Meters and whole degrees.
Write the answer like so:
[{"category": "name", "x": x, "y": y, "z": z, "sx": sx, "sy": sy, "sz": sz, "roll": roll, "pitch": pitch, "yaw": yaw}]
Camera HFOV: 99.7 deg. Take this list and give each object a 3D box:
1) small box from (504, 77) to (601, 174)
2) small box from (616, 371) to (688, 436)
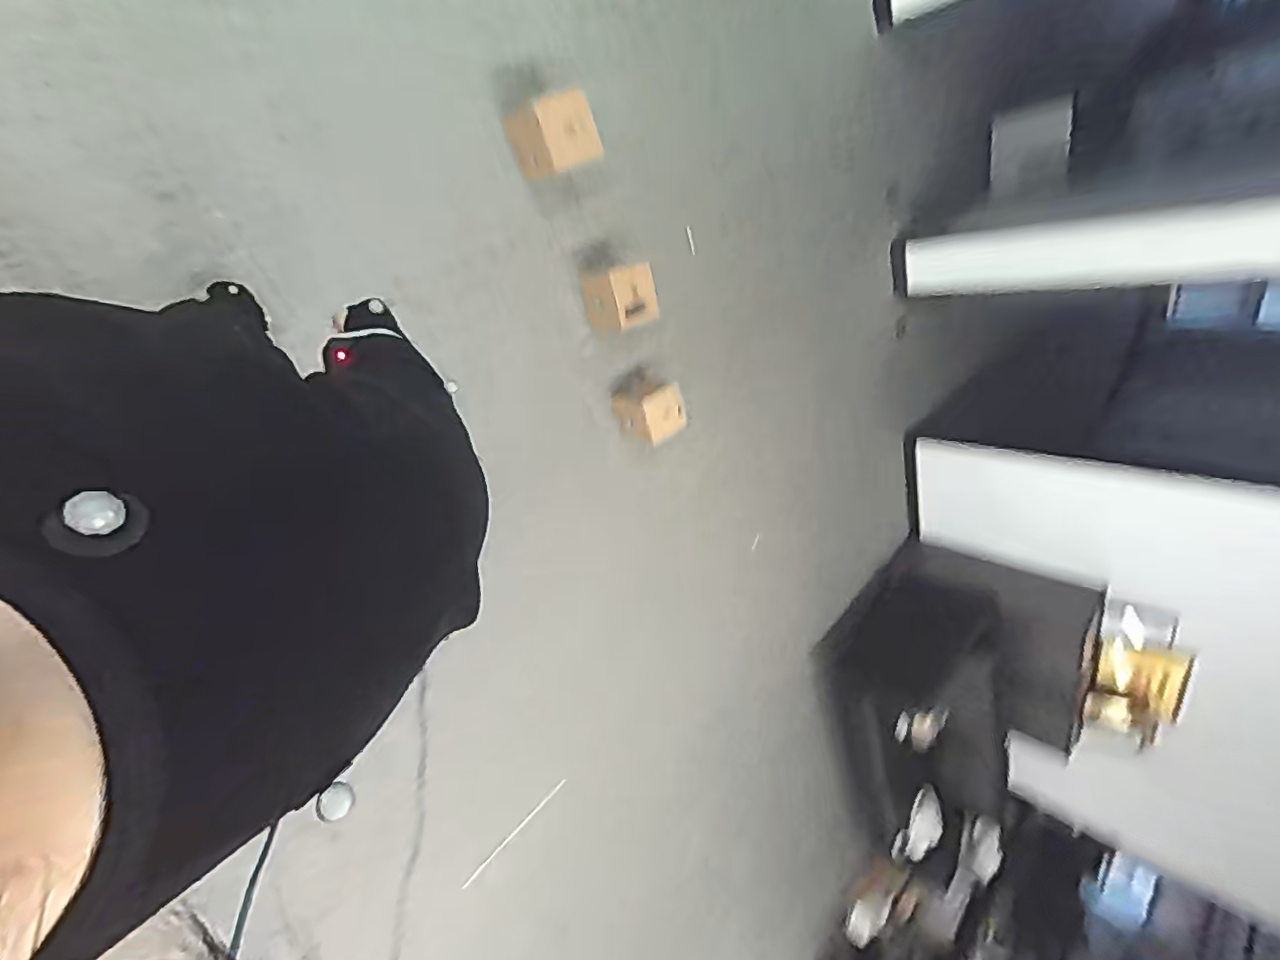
[{"category": "small box", "x": -0.244, "y": -0.953, "z": 1.466, "sx": 0.179, "sy": 0.176, "sz": 0.168, "roll": -39, "pitch": 126, "yaw": -27}, {"category": "small box", "x": 0.035, "y": -0.272, "z": 1.905, "sx": 0.179, "sy": 0.176, "sz": 0.168, "roll": -35, "pitch": 123, "yaw": -28}]
